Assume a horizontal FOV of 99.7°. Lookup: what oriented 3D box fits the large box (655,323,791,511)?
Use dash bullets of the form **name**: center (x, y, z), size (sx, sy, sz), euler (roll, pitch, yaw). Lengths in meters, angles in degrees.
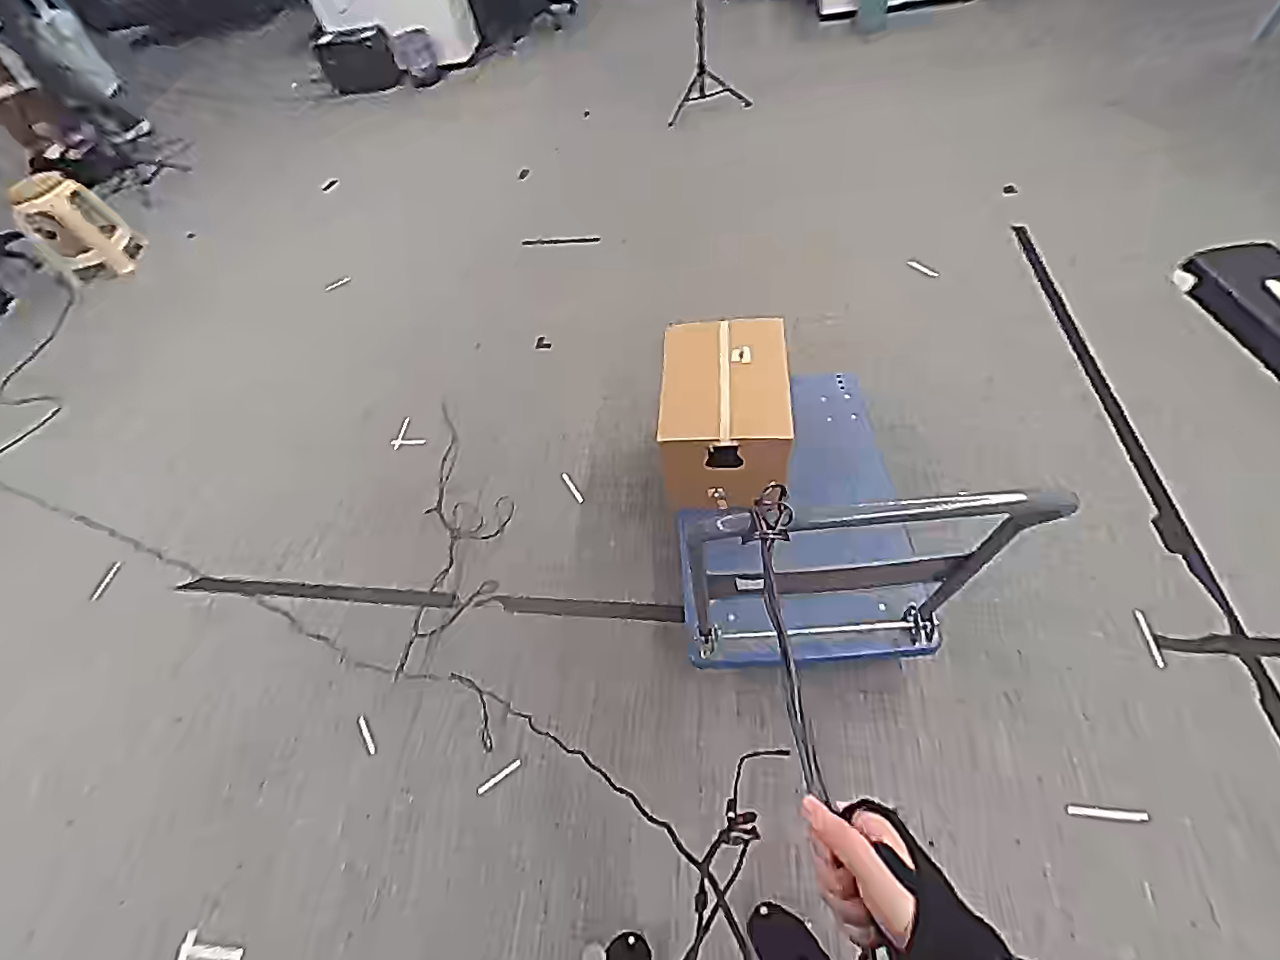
- **large box**: center (0.220, -0.162, 1.459), size (0.320, 0.320, 0.408), euler (-1, 56, 8)
